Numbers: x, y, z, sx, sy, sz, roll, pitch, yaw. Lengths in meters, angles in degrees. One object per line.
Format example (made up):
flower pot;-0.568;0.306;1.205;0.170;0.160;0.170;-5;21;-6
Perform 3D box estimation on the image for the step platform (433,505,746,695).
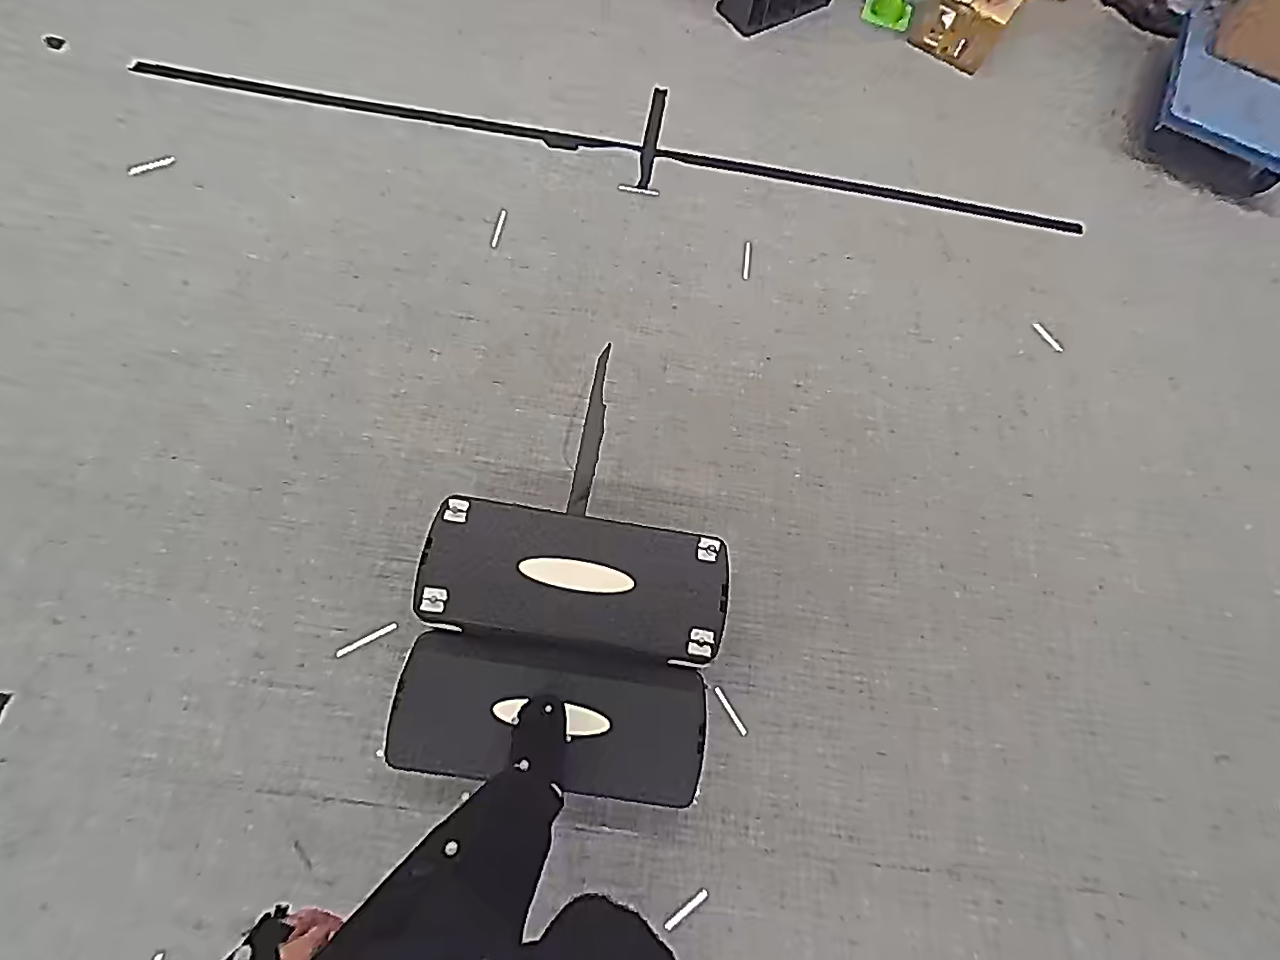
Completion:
step platform;-0.106;0.275;1.243;0.684;0.204;0.286;14;67;-1
